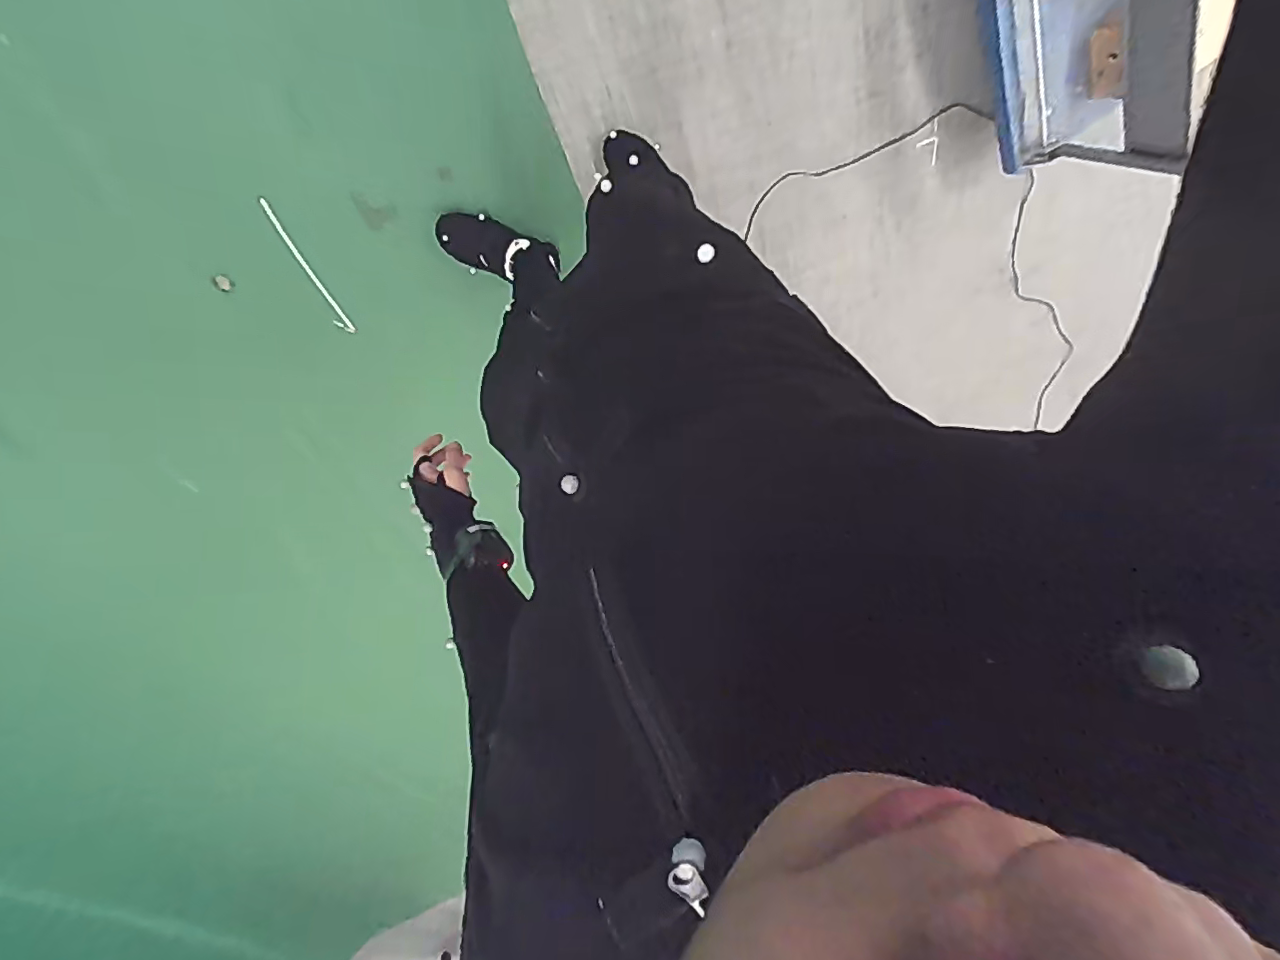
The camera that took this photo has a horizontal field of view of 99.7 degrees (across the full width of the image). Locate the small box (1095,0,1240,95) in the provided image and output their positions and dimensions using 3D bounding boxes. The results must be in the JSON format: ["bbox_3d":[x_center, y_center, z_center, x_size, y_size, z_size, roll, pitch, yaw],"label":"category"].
[{"bbox_3d":[1.200,-1.024,1.238,0.179,0.176,0.168,-34,128,8],"label":"small box"}]
